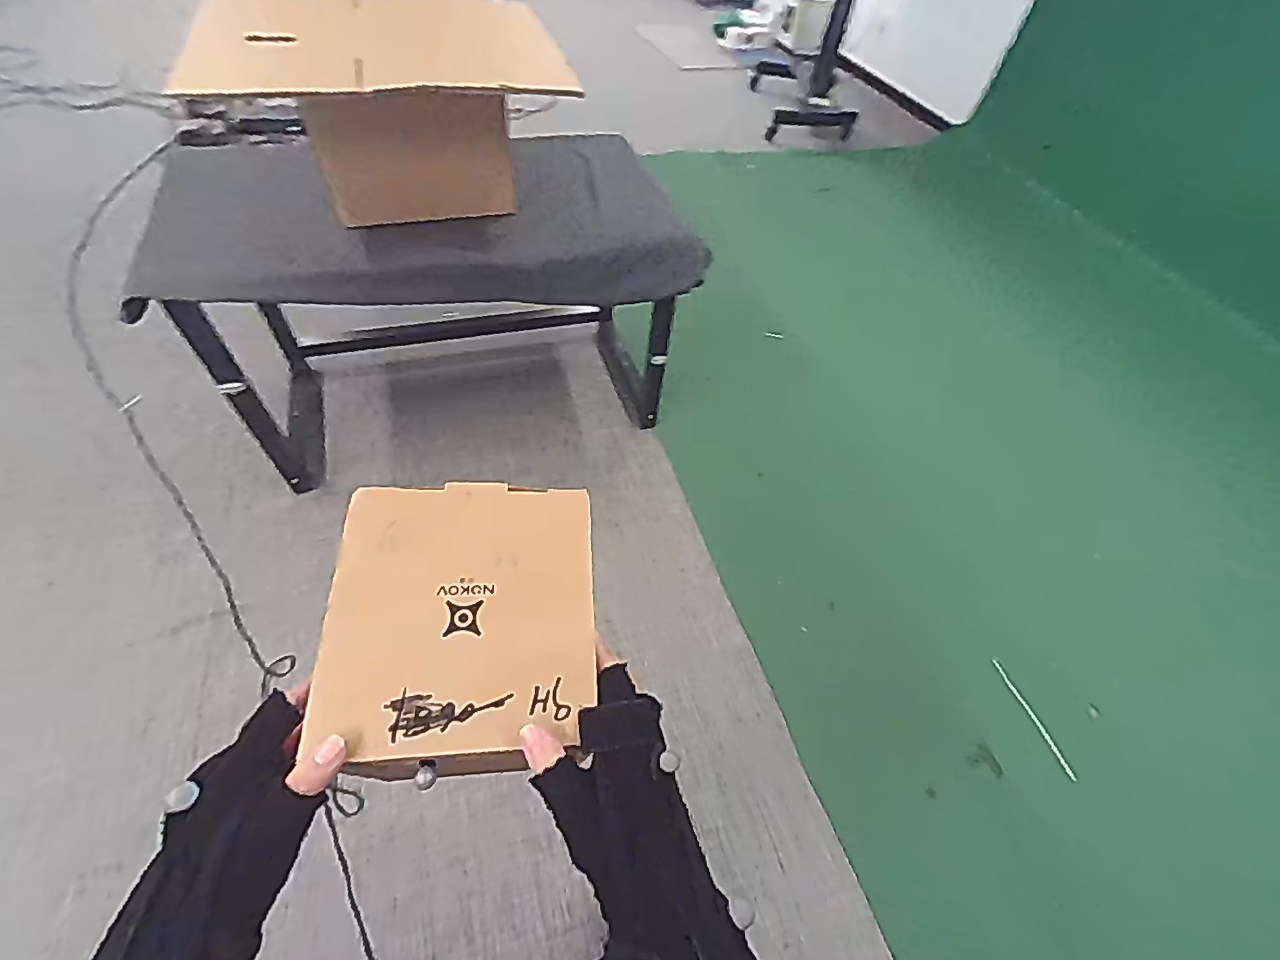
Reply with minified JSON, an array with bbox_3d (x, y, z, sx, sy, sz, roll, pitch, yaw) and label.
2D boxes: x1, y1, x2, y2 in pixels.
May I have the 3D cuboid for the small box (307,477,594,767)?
[{"bbox_3d":[-0.127,0.115,0.427,0.168,0.176,0.179,0,57,-10],"label":"small box"}]
